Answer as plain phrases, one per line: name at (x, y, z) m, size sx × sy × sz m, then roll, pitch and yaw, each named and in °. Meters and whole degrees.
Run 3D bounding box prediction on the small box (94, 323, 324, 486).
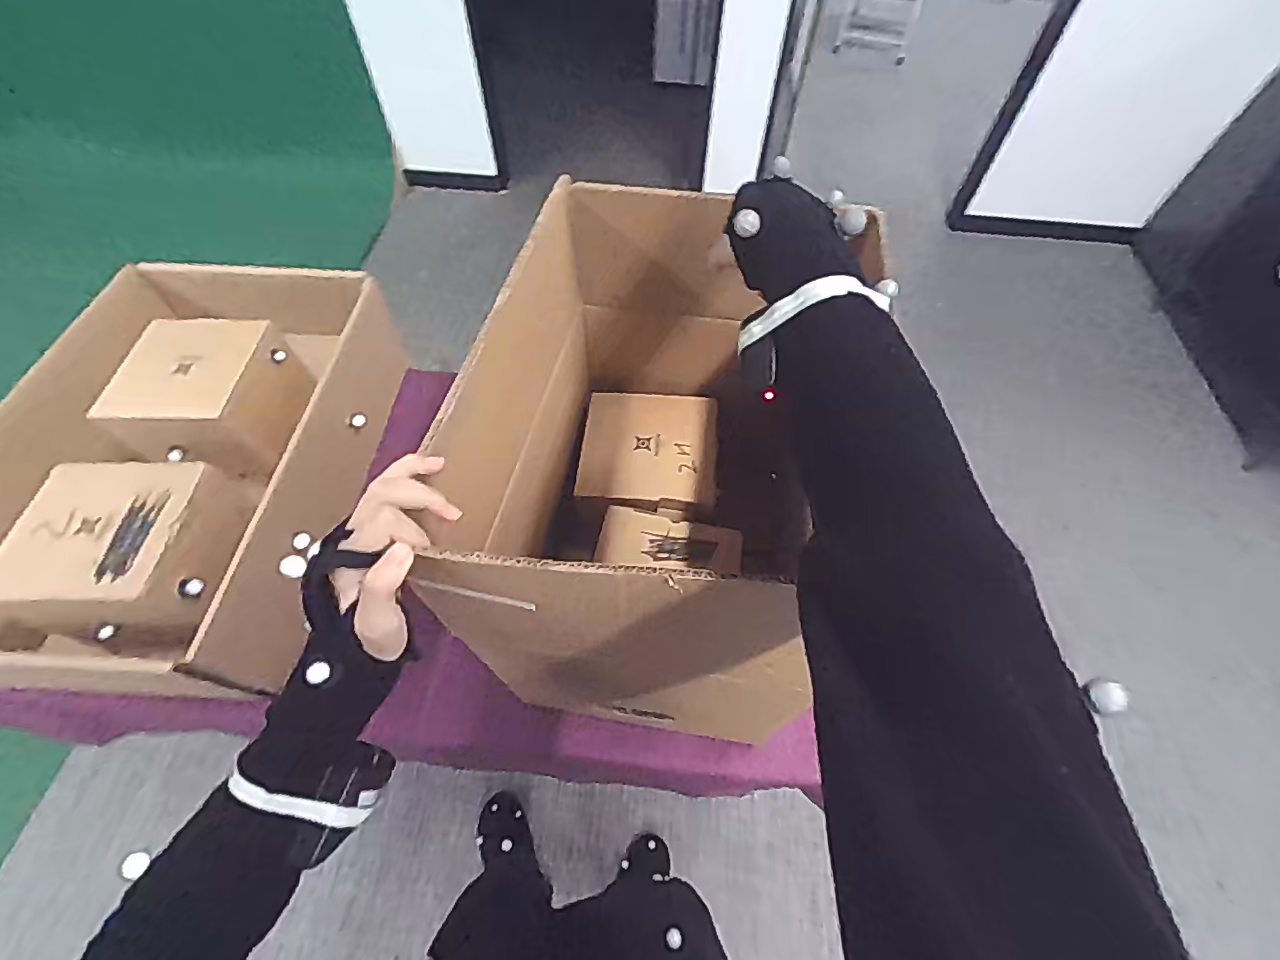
small box at (-0.593, -0.103, 0.778) m, size 0.168 × 0.176 × 0.179 m, roll 1°, pitch 57°, yaw 1°
